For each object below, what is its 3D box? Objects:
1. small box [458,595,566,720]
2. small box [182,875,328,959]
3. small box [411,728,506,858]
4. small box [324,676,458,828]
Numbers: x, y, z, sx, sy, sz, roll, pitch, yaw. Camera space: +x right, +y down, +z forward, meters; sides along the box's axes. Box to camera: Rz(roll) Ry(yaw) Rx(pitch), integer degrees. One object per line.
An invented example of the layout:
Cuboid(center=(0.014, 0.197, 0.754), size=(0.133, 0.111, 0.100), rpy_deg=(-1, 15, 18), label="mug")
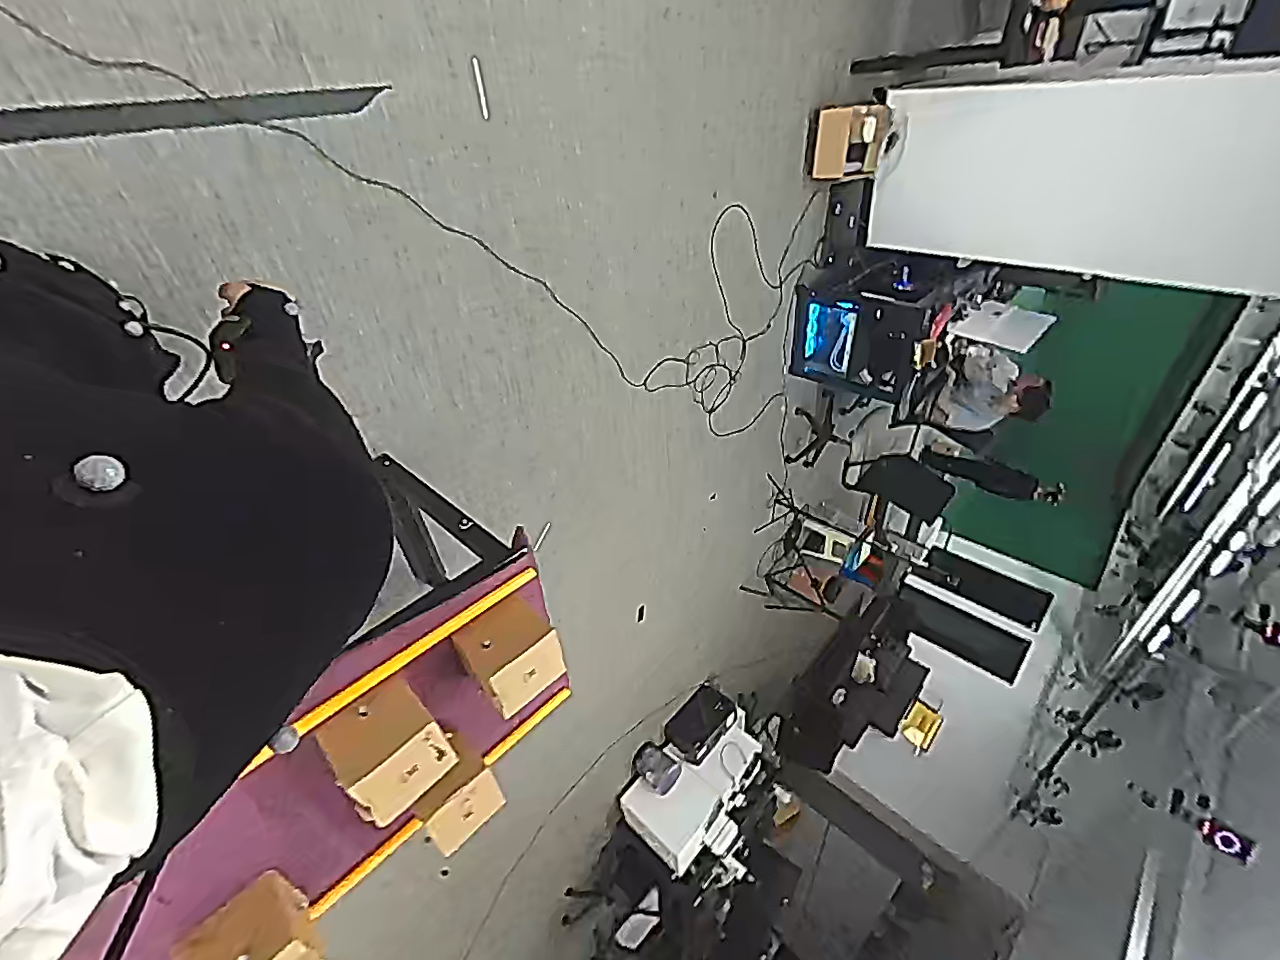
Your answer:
Cuboid(center=(-0.300, 0.404, 1.254), size=(0.179, 0.176, 0.168), rpy_deg=(-33, 135, -32), label="small box")
Cuboid(center=(-0.740, 0.925, 1.041), size=(0.179, 0.176, 0.168), rpy_deg=(-34, 134, -35), label="small box")
Cuboid(center=(-0.448, 0.729, 1.276), size=(0.168, 0.176, 0.179), rpy_deg=(-34, 133, -34), label="small box")
Cuboid(center=(-0.505, 0.540, 1.090), size=(0.179, 0.176, 0.168), rpy_deg=(-35, 135, -33), label="small box")
